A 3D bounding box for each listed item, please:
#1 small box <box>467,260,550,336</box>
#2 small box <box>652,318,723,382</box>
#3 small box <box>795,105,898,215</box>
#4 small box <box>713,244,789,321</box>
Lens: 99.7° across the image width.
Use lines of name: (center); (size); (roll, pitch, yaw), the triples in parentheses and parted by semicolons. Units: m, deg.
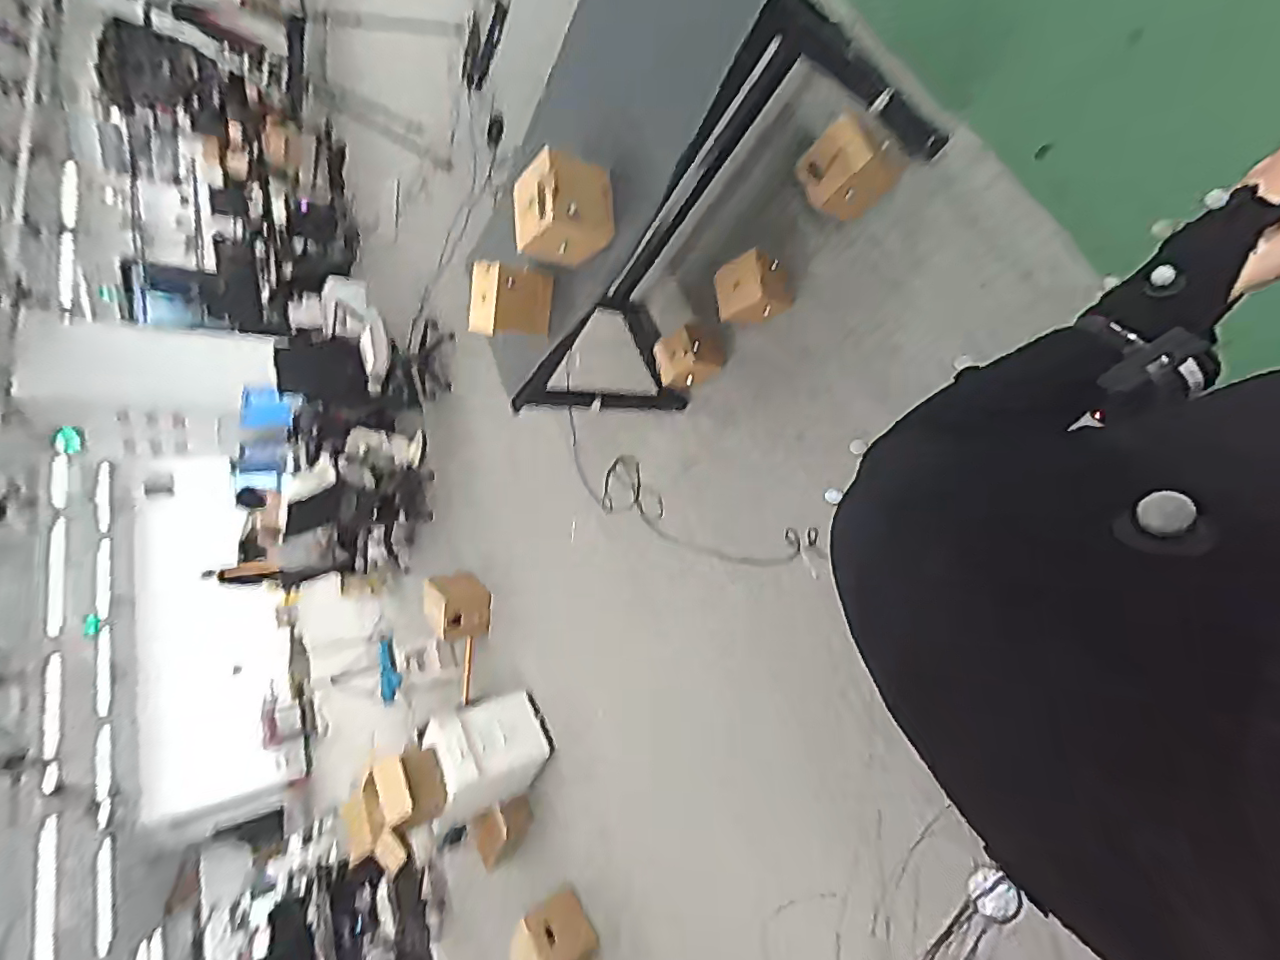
small box: (-0.365, -0.503, 1.499); (0.168, 0.176, 0.179); (26, 112, 46)
small box: (0.176, -0.471, 1.991); (0.179, 0.176, 0.168); (-28, 72, 49)
small box: (0.566, -0.867, 1.484); (0.179, 0.176, 0.168); (-36, 67, 45)
small box: (0.365, -0.632, 1.748); (0.179, 0.176, 0.168); (-16, 81, 51)
